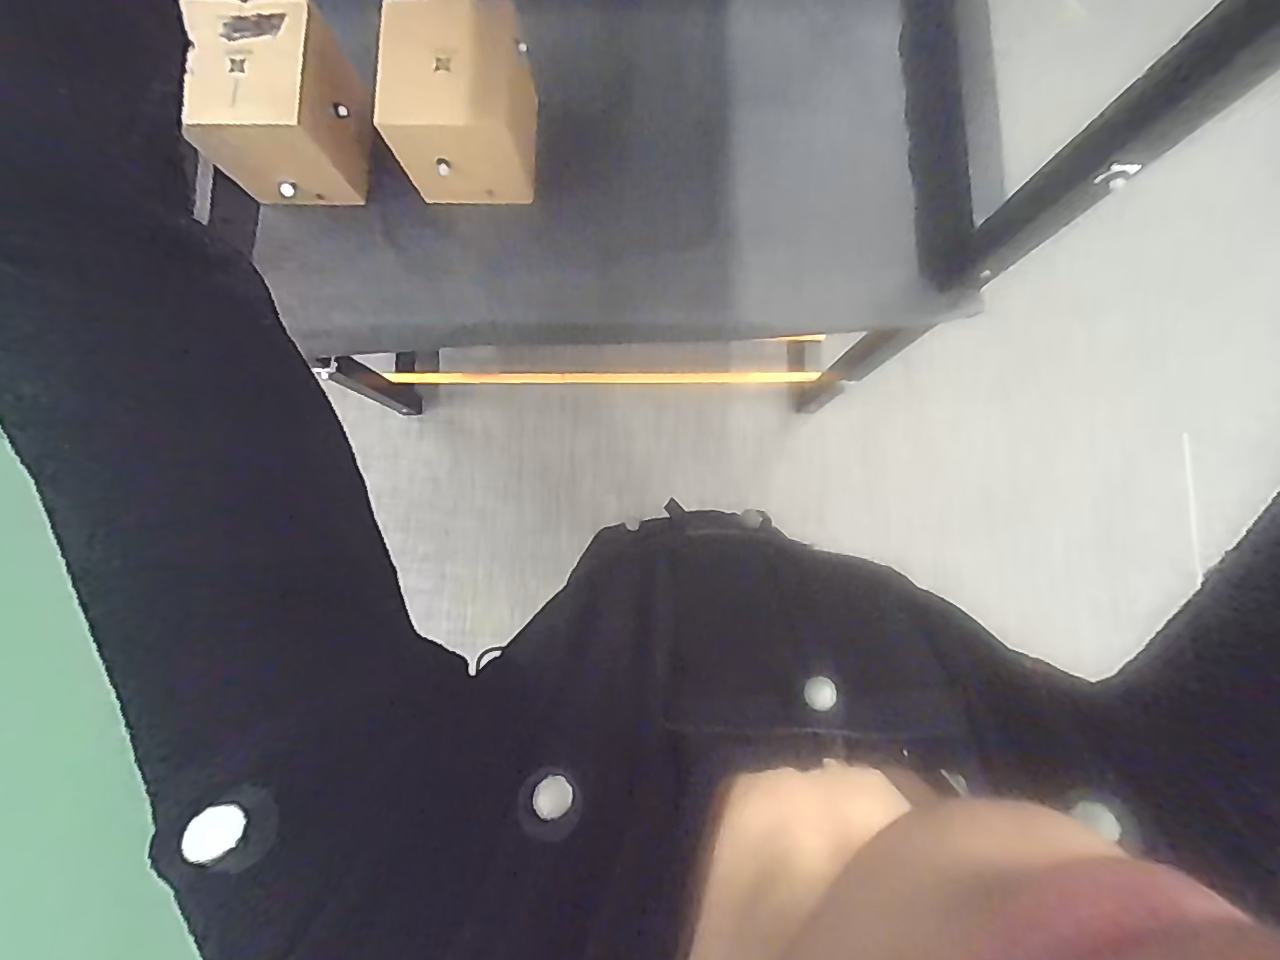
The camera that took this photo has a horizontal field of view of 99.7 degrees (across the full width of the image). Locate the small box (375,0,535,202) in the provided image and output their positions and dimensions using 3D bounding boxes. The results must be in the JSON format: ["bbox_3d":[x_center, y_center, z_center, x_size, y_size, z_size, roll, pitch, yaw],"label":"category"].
[{"bbox_3d":[-0.247,-0.516,0.758,0.168,0.176,0.179,1,84,0],"label":"small box"}]

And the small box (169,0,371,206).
[{"bbox_3d":[-0.500,-0.517,0.758,0.168,0.176,0.179,1,85,1],"label":"small box"}]
